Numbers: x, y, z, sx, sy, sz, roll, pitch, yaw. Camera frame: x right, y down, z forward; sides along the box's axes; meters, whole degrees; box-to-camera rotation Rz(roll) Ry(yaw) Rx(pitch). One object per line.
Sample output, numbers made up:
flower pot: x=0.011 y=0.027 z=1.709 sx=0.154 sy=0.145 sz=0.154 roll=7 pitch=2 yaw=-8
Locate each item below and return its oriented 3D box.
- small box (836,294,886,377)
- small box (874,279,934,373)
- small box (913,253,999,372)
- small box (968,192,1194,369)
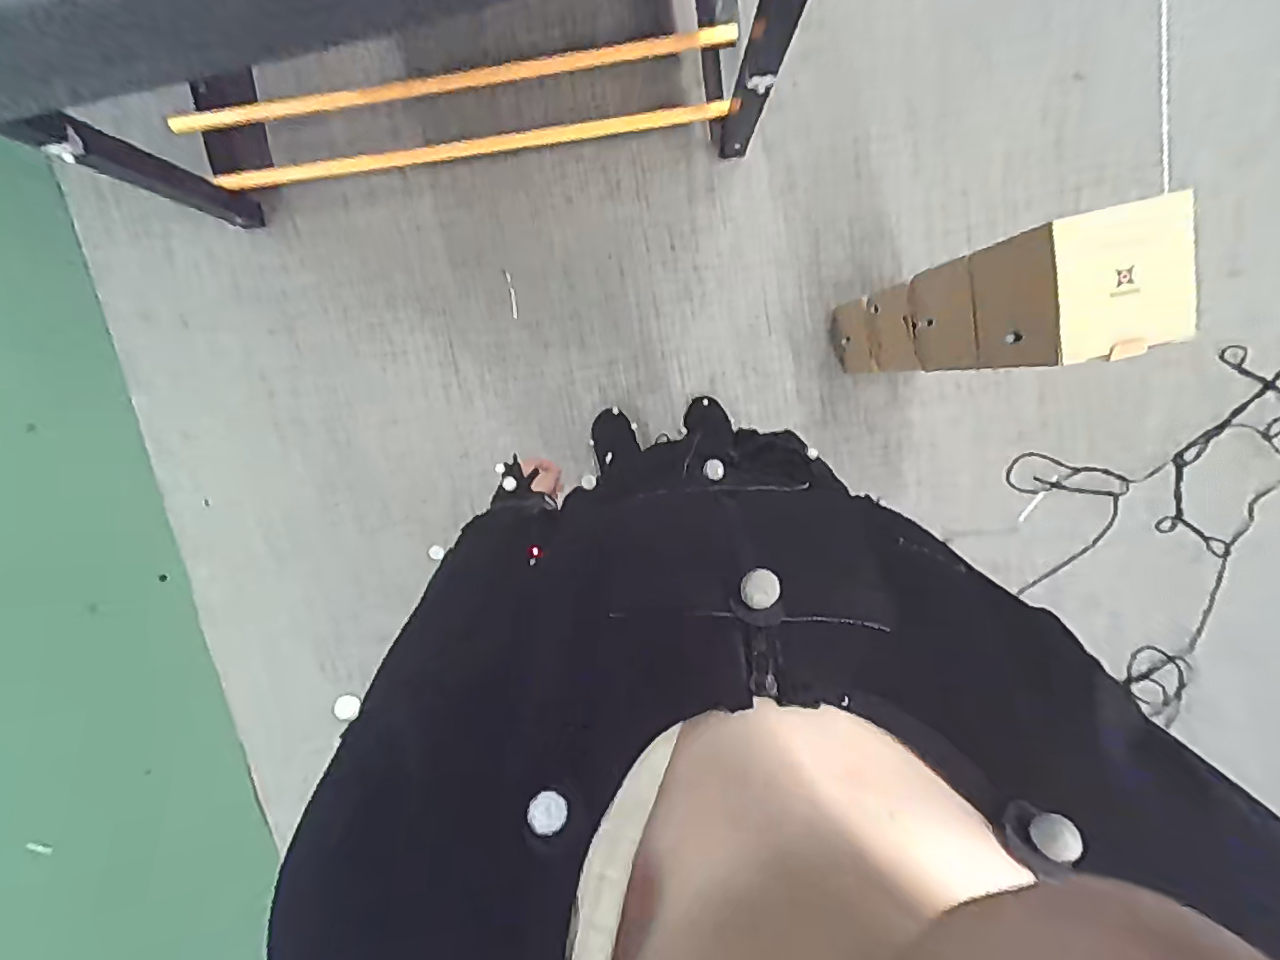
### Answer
small box: x=0.564 y=-0.332 z=1.211 sx=0.179 sy=0.176 sz=0.168 roll=-14 pitch=98 yaw=4
small box: x=0.574 y=-0.306 z=1.048 sx=0.179 sy=0.176 sz=0.168 roll=-13 pitch=99 yaw=2
small box: x=0.575 y=-0.280 z=0.887 sx=0.168 sy=0.176 sz=0.179 roll=-13 pitch=100 yaw=3
small box: x=0.577 y=-0.251 z=0.726 sx=0.168 sy=0.176 sz=0.179 roll=-13 pitch=99 yaw=2
